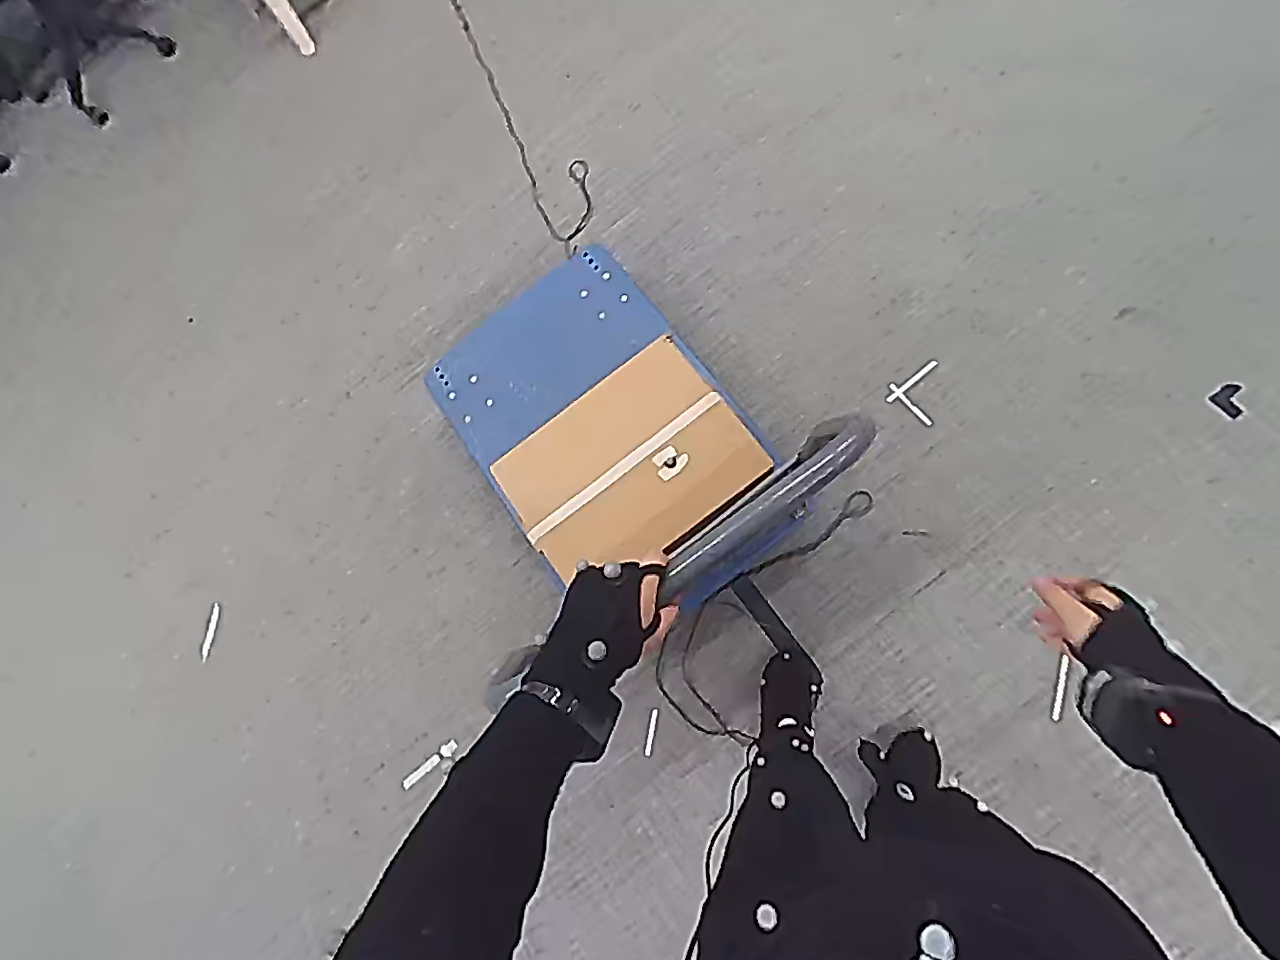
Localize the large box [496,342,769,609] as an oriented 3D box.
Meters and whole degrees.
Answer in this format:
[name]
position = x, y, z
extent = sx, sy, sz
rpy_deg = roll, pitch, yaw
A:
[large box]
position = 0.000, 0.015, 1.090
extent = 0.408, 0.320, 0.320
rpy_deg = -38, 75, 1
